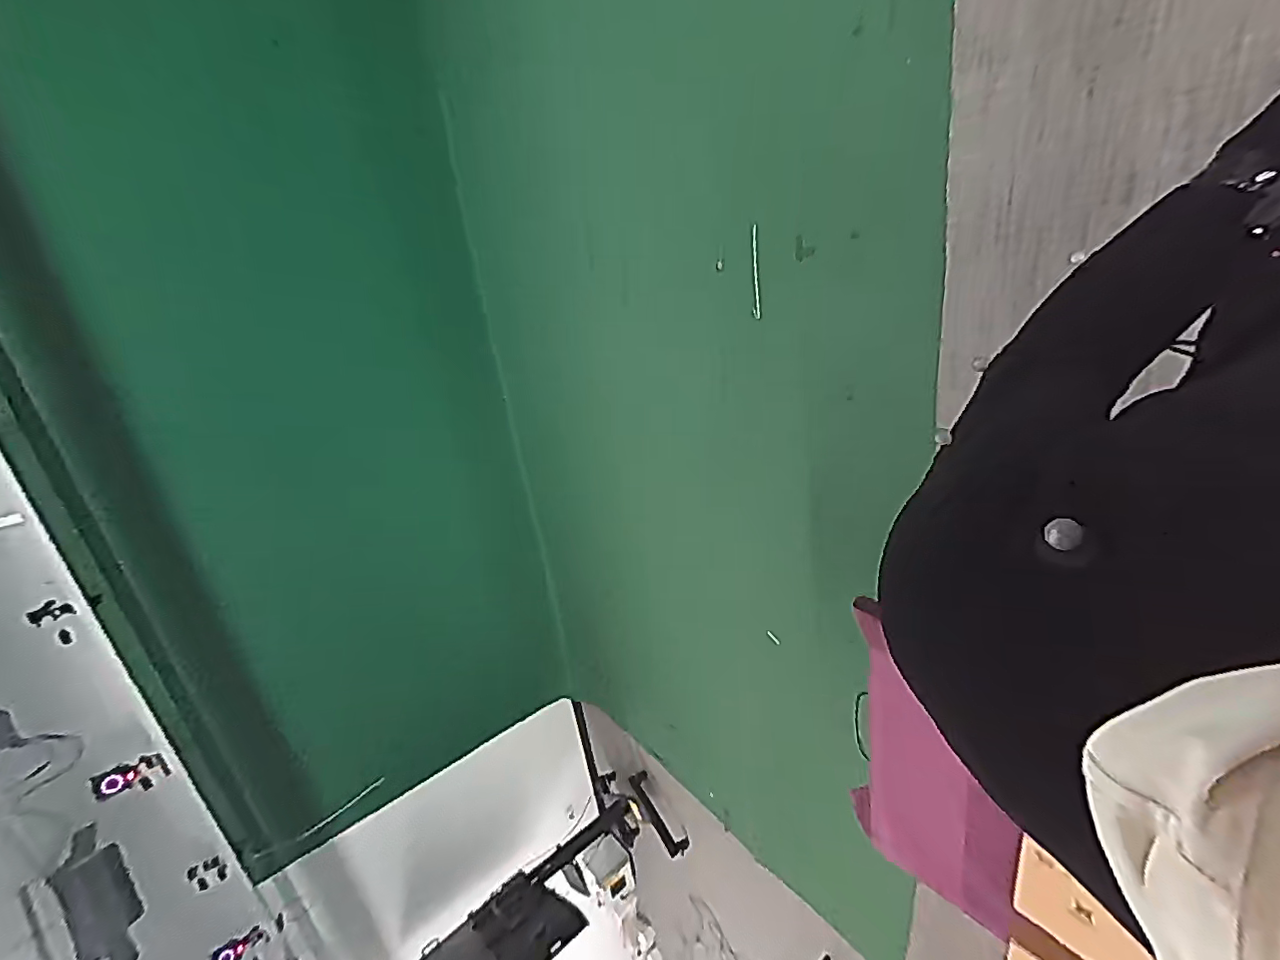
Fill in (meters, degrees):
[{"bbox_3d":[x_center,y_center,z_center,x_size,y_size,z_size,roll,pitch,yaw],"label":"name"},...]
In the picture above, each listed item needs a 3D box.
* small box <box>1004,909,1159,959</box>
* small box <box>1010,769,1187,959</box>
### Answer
[{"bbox_3d":[0.749,0.839,0.926,0.168,0.176,0.179,17,121,50],"label":"small box"},{"bbox_3d":[0.712,0.607,0.846,0.168,0.176,0.179,18,123,50],"label":"small box"}]
